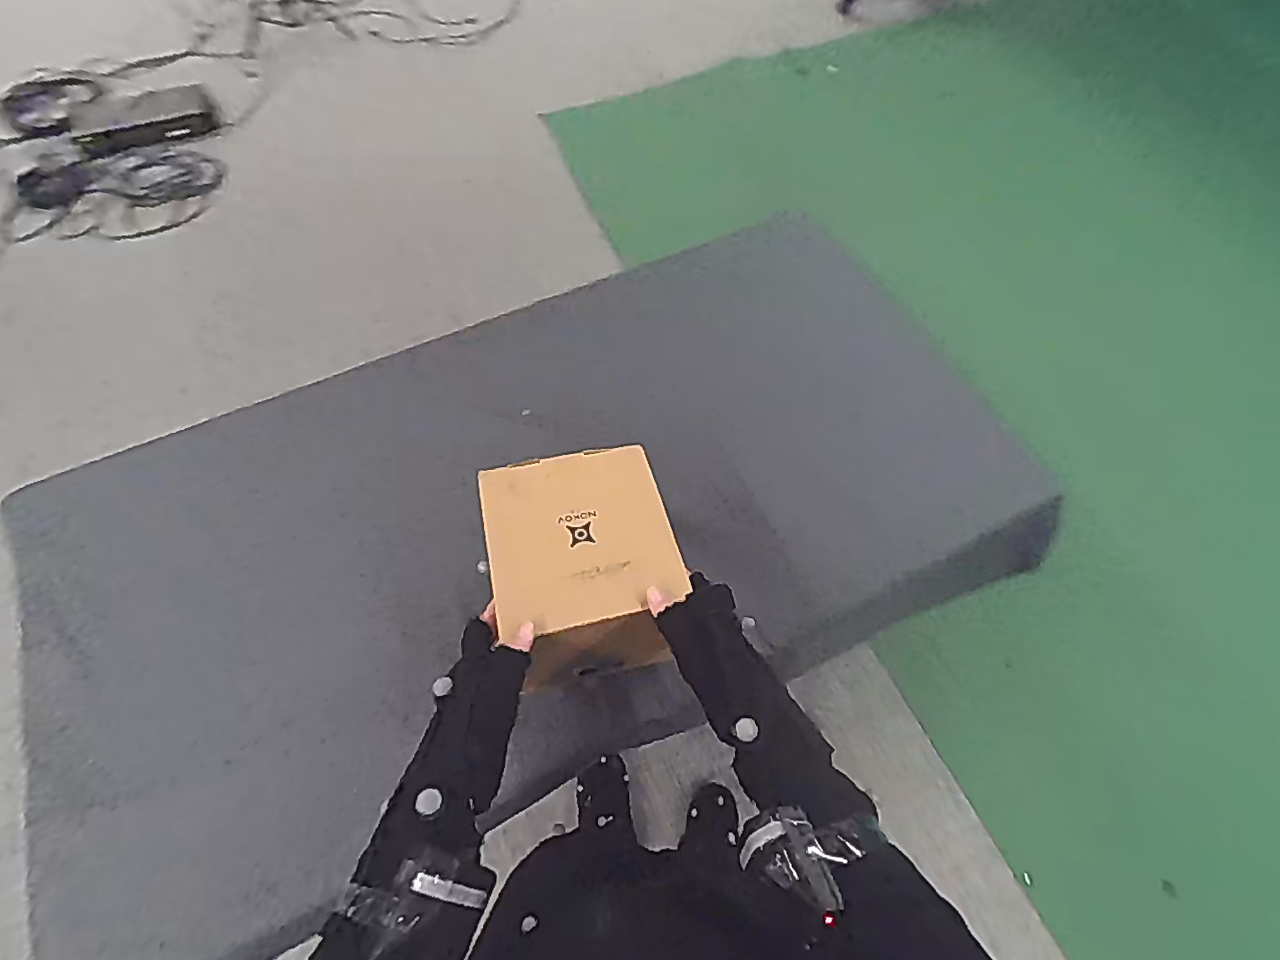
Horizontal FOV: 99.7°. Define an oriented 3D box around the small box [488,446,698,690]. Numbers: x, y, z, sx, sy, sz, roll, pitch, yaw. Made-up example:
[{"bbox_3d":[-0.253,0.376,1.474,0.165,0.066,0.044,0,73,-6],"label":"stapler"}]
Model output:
[{"bbox_3d":[-0.055,0.092,0.557,0.168,0.176,0.179,-10,56,-12],"label":"small box"}]
